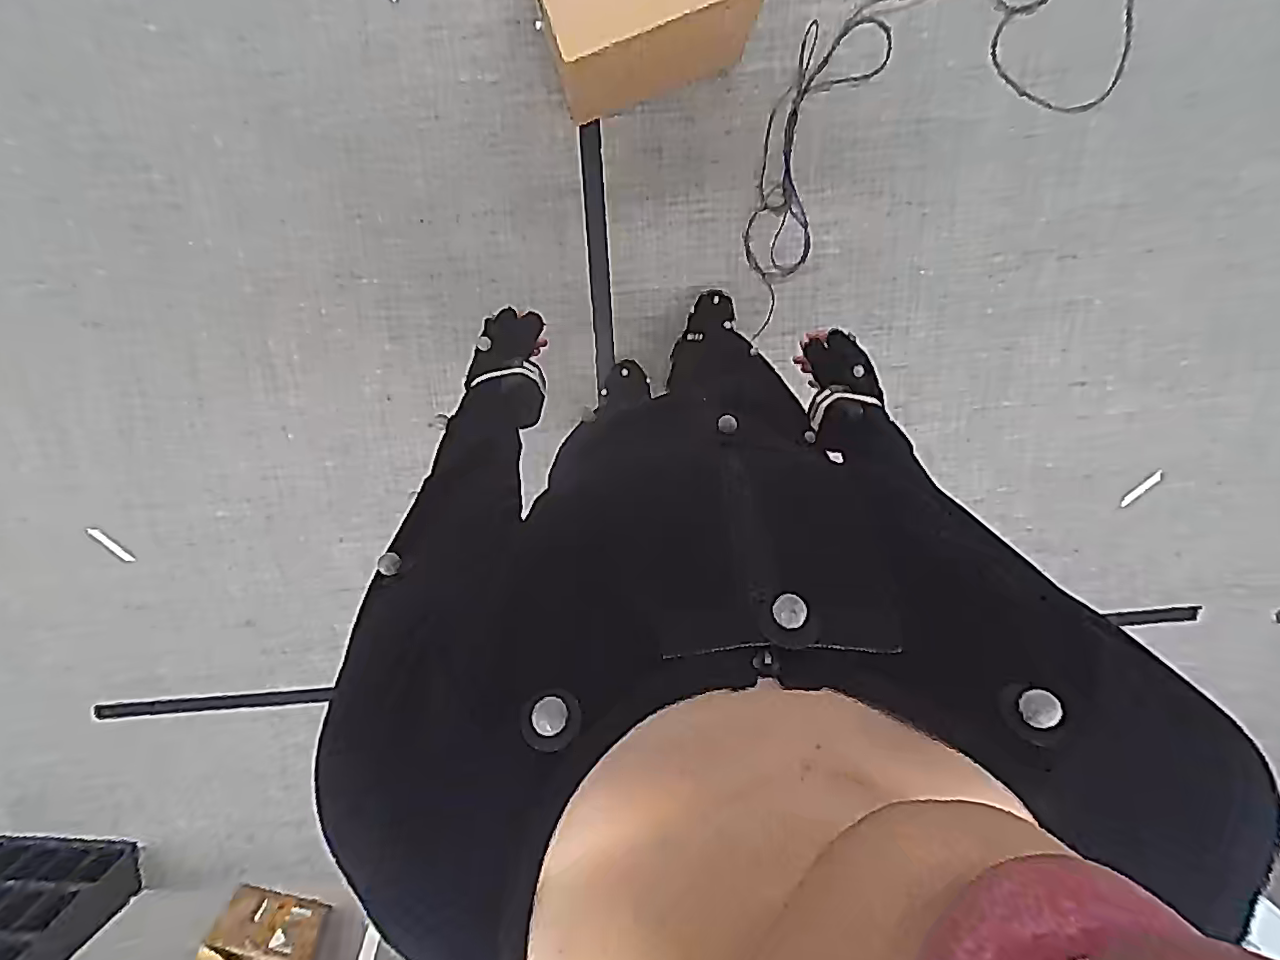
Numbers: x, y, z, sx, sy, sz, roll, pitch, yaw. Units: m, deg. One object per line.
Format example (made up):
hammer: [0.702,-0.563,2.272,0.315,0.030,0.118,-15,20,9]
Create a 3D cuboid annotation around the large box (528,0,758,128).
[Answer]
large box: [-0.014,-1.000,1.091,0.408,0.320,0.320,-20,104,2]
